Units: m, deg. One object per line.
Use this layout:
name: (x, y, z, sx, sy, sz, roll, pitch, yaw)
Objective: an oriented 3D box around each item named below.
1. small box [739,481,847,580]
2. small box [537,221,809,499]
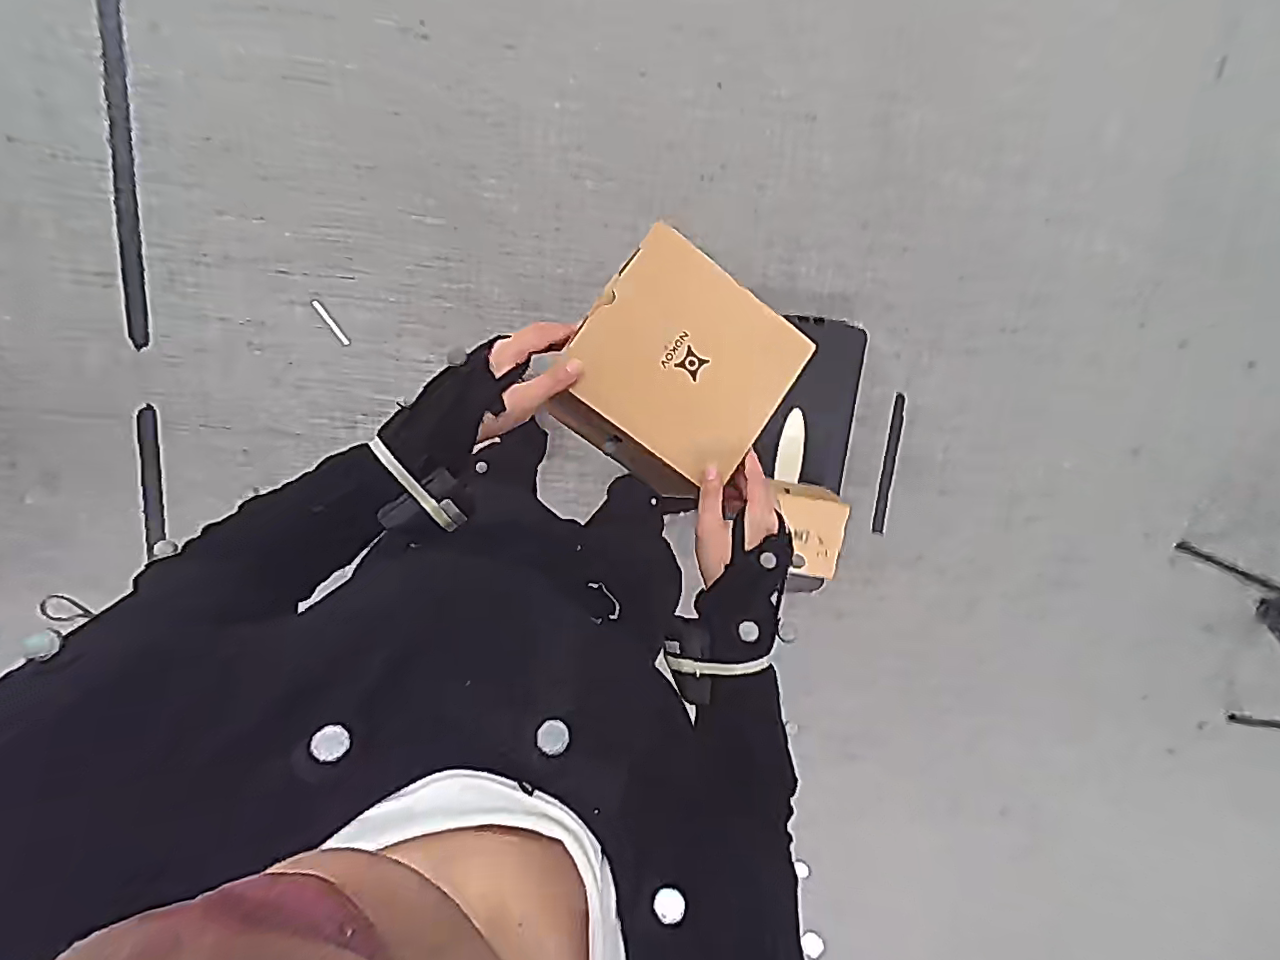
small box: (0.332, 0.106, 1.213, 0.179, 0.176, 0.168, 9, 102, -3)
small box: (0.019, -0.098, 0.523, 0.179, 0.176, 0.168, 35, 82, -8)
